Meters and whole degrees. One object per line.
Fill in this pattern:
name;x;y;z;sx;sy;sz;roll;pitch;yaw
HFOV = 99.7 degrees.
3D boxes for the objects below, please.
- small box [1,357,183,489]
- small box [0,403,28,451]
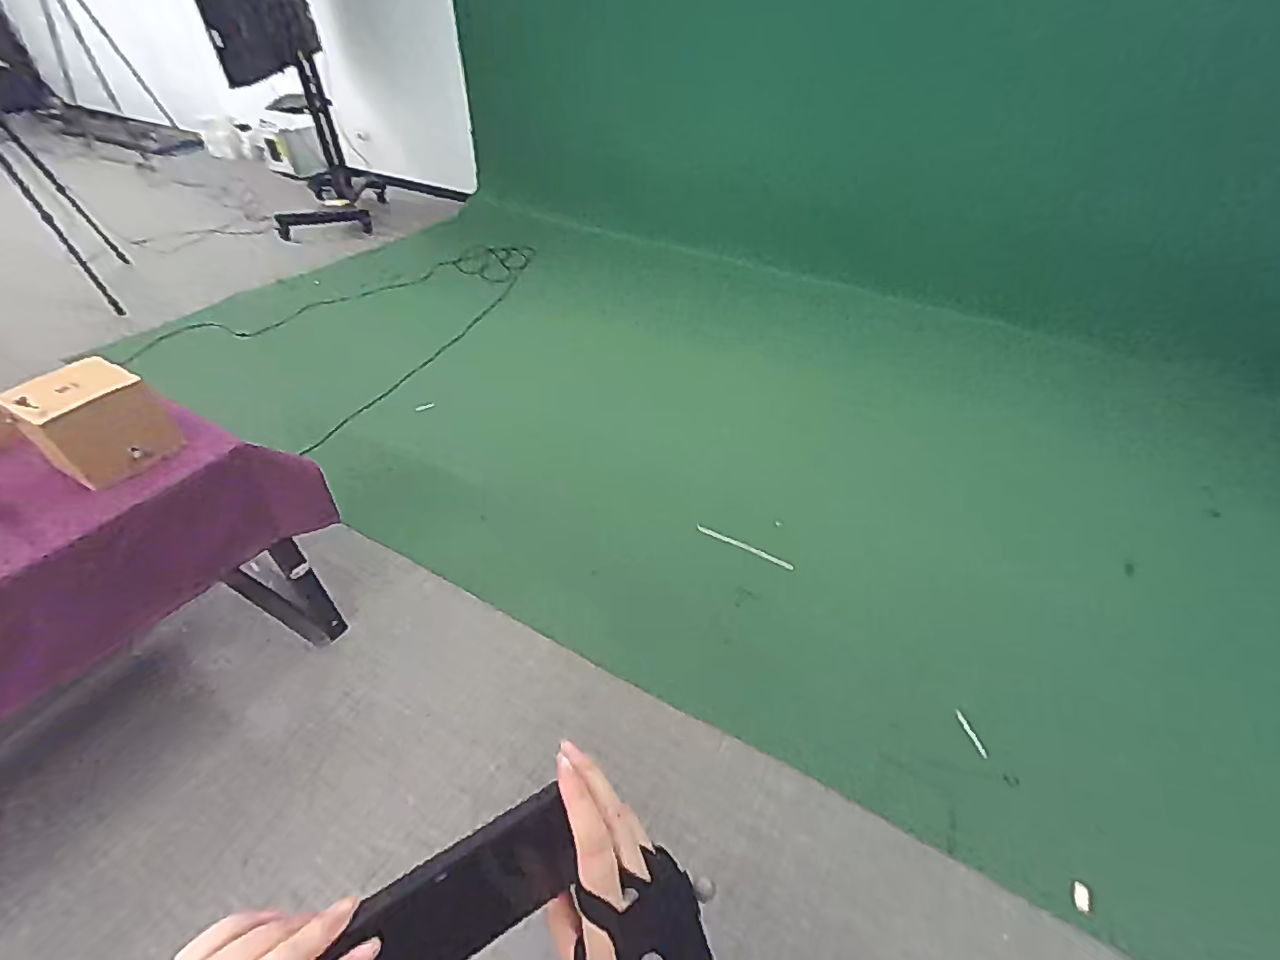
small box;-1.063;-0.114;1.072;0.168;0.176;0.179;22;46;20
small box;-1.408;-0.132;1.073;0.179;0.176;0.168;21;47;18
